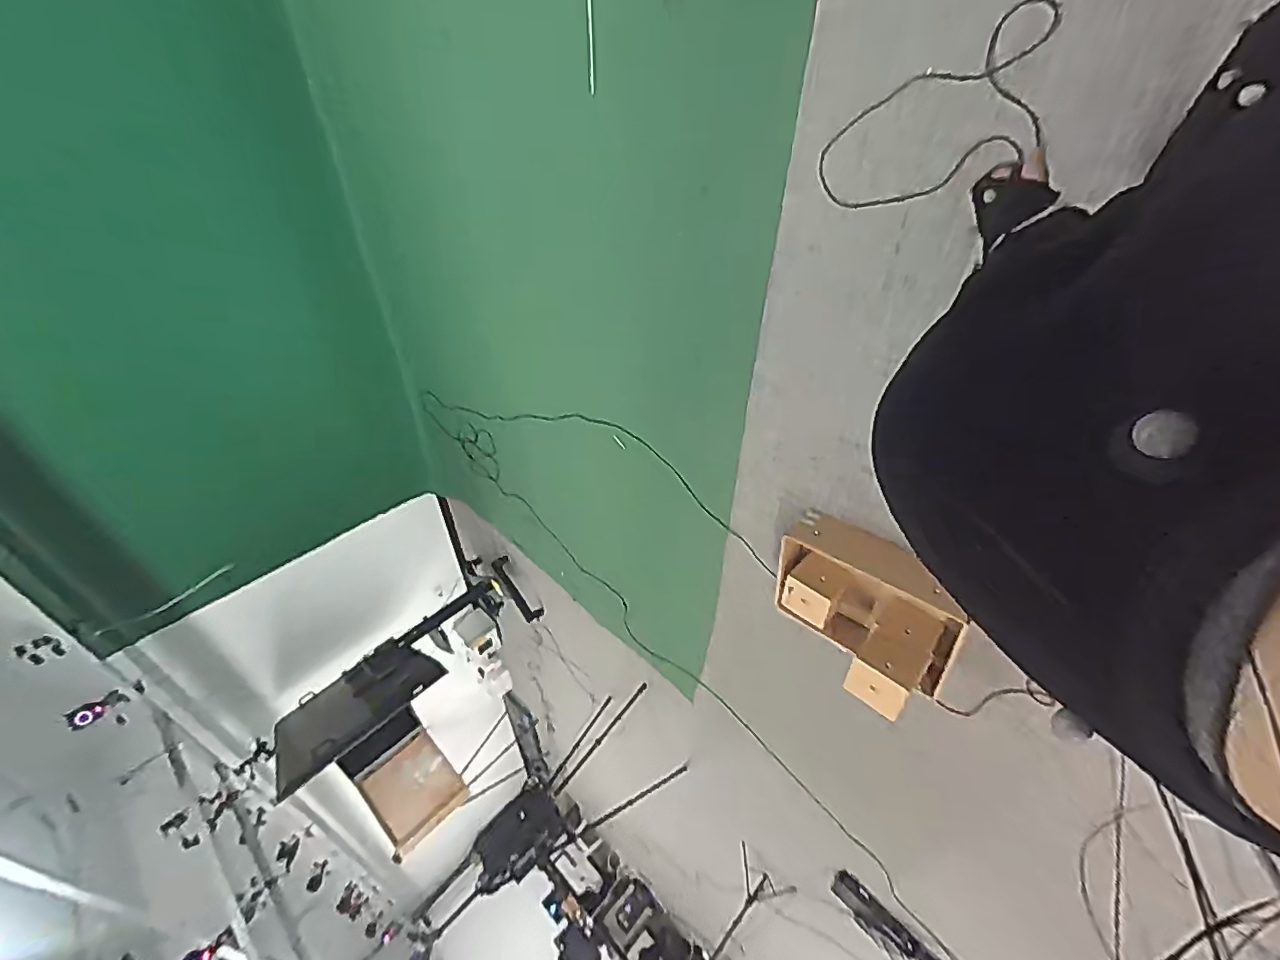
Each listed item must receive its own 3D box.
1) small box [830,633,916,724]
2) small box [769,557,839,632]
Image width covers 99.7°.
[{"bbox_3d":[0.739,0.619,1.711,0.179,0.176,0.168,31,135,33],"label":"small box"},{"bbox_3d":[0.608,0.415,1.993,0.179,0.176,0.168,31,137,31],"label":"small box"}]
